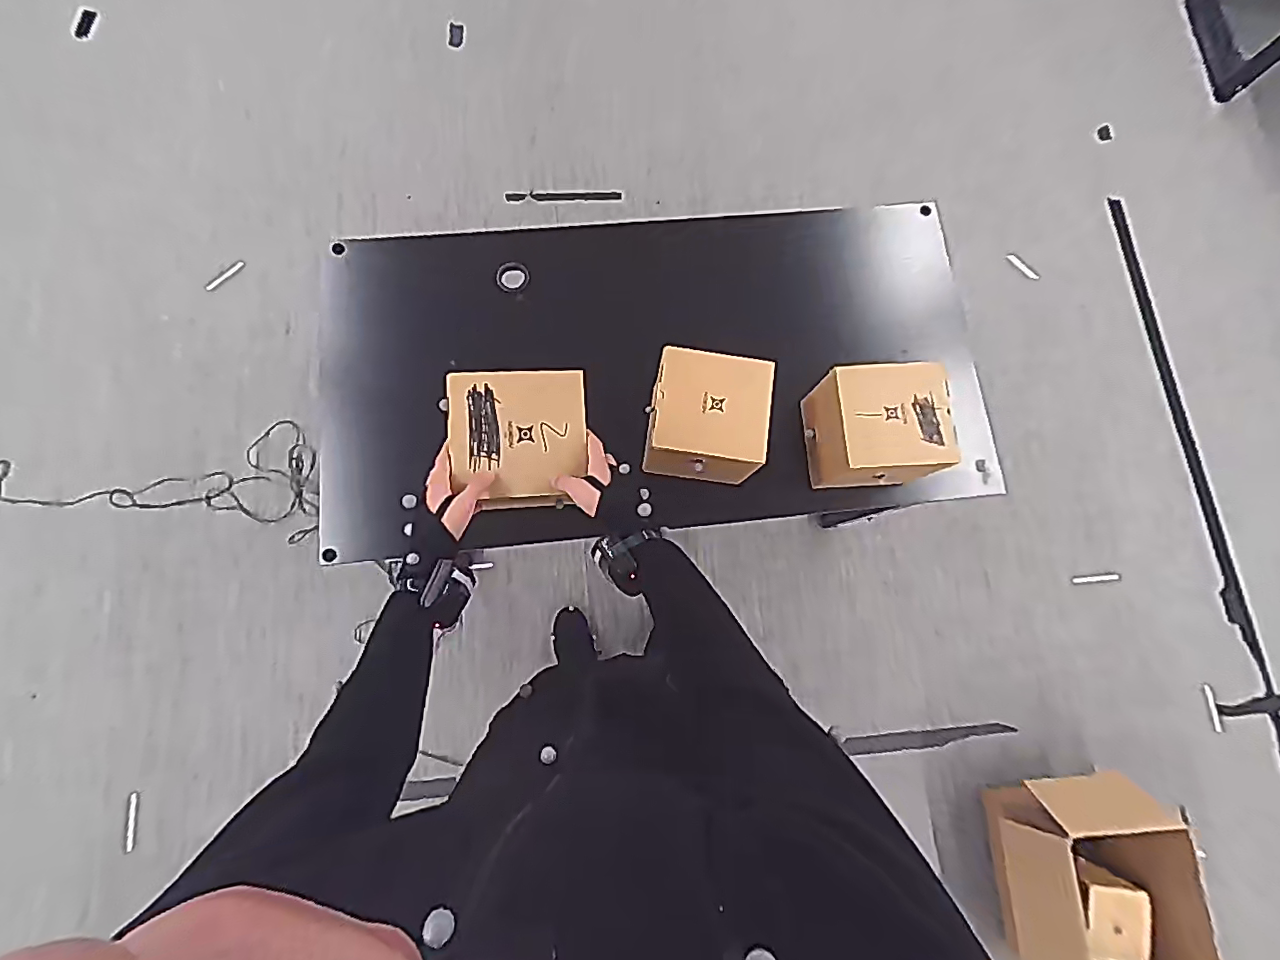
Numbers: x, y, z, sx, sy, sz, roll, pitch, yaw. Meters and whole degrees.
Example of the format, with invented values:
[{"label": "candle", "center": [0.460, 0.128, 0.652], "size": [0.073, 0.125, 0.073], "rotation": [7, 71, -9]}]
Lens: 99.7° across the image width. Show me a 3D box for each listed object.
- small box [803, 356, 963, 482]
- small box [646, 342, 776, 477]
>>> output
[{"label": "small box", "center": [0.389, -0.094, 0.896], "size": [0.179, 0.176, 0.168], "rotation": [-4, 79, -2]}, {"label": "small box", "center": [0.109, -0.105, 0.889], "size": [0.179, 0.176, 0.168], "rotation": [7, 78, 0]}]
